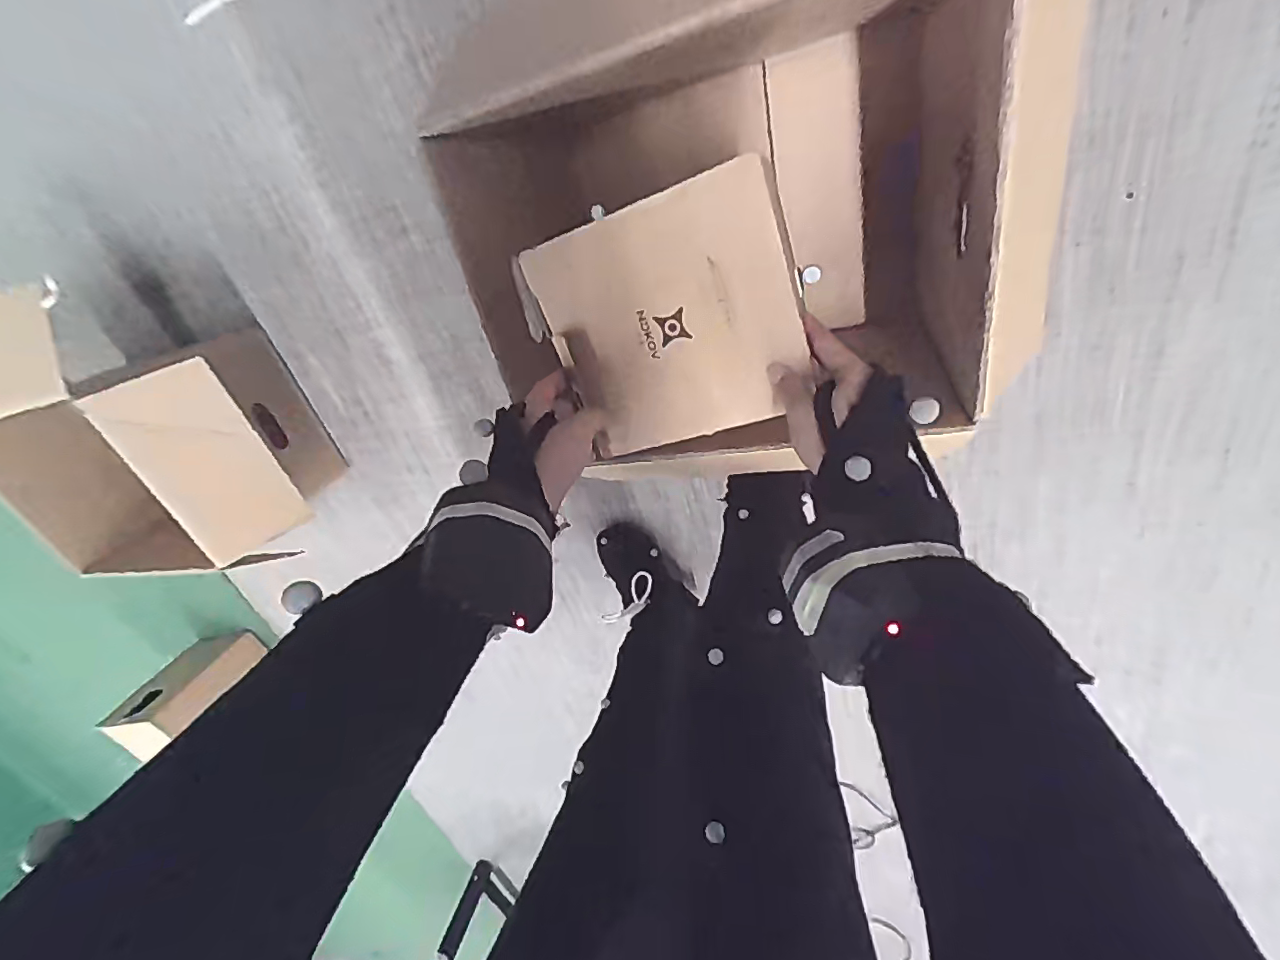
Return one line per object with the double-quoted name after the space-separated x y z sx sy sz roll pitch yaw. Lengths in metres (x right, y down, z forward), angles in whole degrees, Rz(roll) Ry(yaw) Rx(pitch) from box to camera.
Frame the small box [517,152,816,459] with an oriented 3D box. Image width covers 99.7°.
0.038 -0.139 0.442 0.179 0.176 0.168 -14 113 22 "small box"
